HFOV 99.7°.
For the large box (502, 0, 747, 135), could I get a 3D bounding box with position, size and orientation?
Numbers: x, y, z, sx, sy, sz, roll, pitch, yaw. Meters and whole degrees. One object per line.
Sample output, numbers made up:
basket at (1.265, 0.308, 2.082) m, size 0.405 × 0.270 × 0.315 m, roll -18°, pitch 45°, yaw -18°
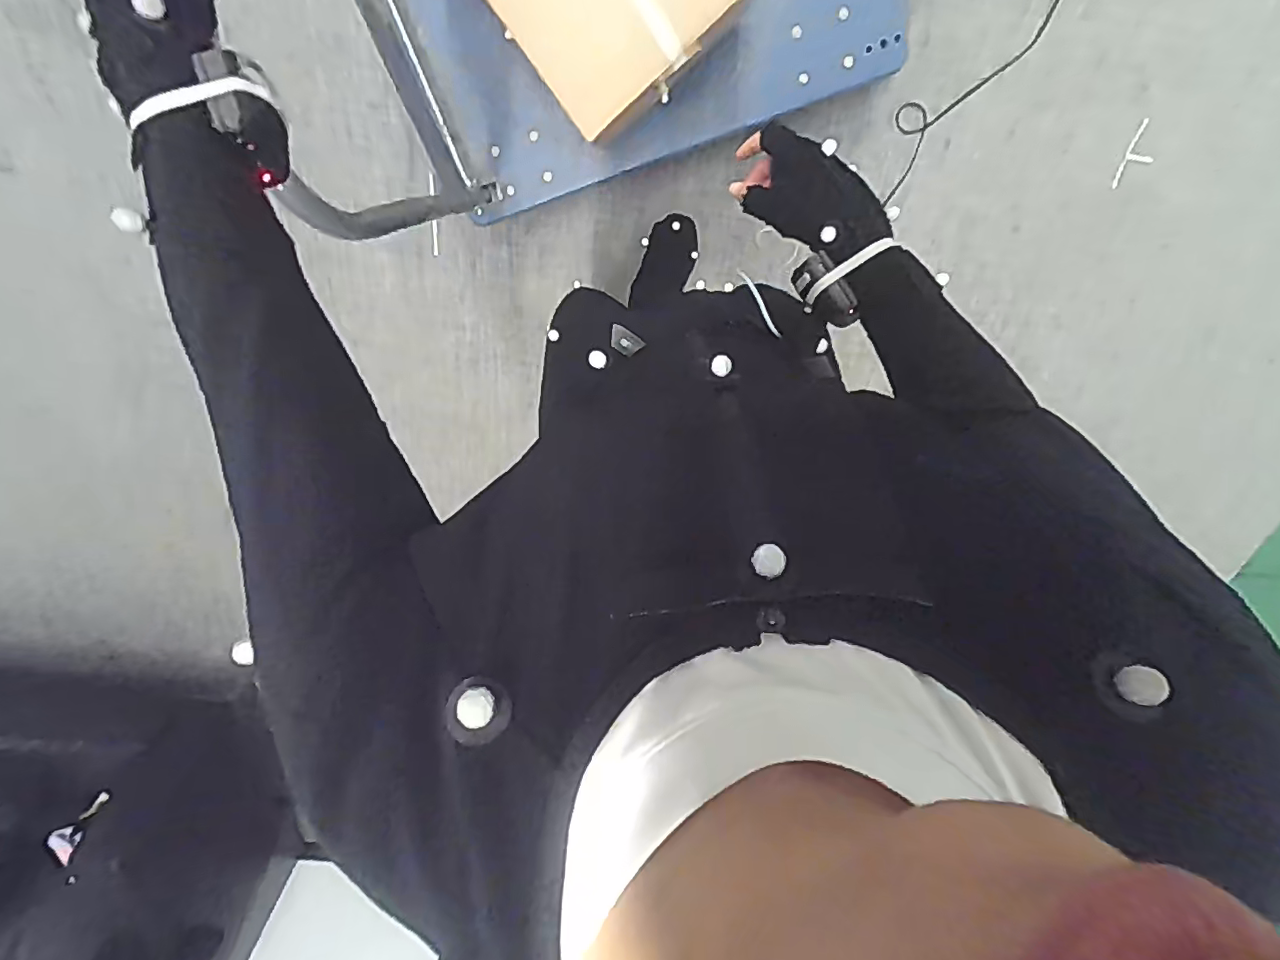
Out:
large box at (-0.065, -0.790, 0.773) m, size 0.320 × 0.320 × 0.408 m, roll -34°, pitch 113°, yaw 18°
